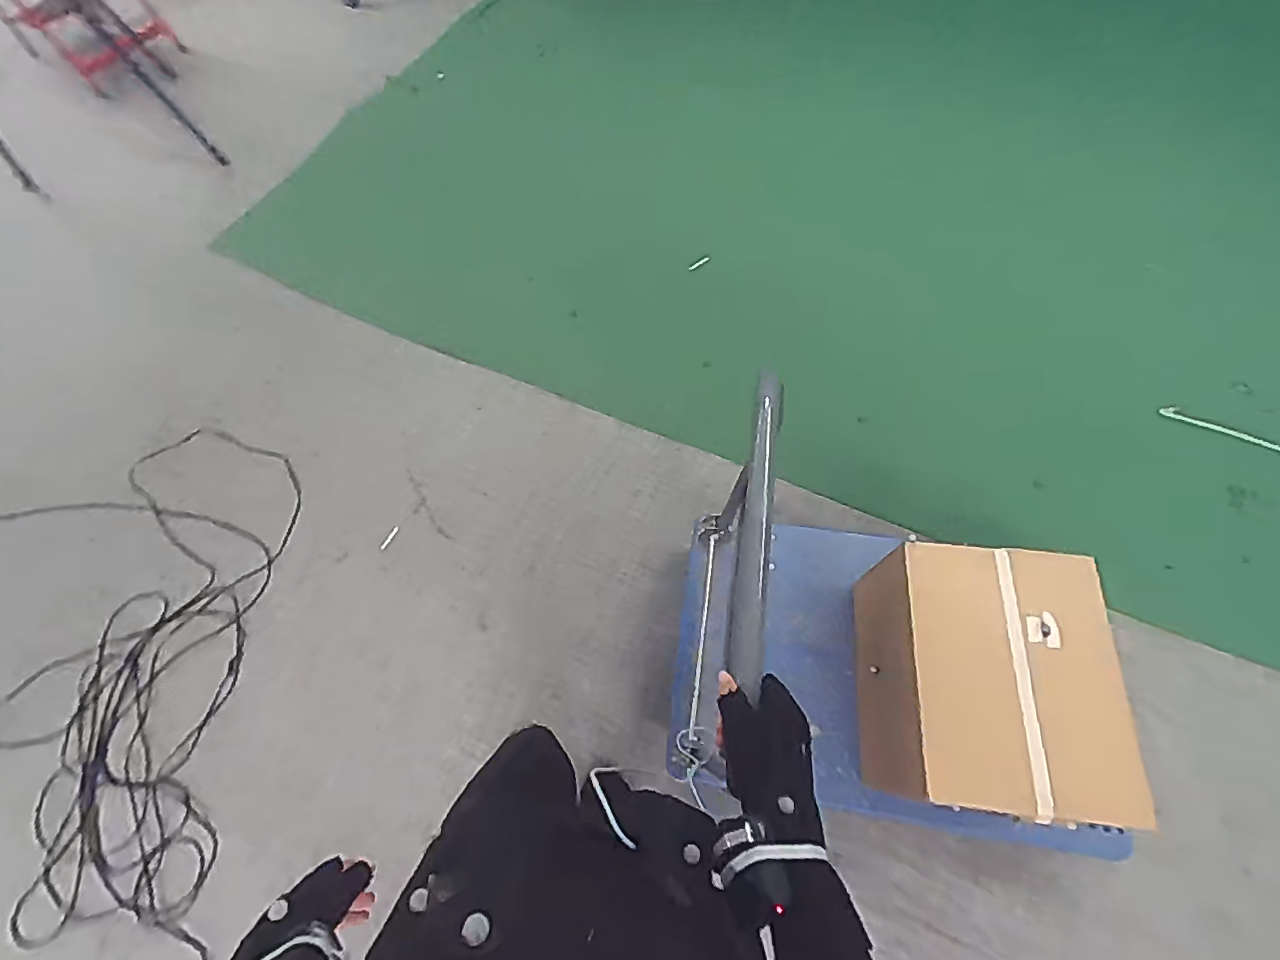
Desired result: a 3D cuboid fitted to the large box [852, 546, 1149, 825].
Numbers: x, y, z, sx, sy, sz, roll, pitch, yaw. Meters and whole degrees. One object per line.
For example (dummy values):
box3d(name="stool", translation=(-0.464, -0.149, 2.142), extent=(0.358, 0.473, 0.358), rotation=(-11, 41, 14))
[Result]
box3d(name="large box", translation=(0.601, 0.373, 0.998), extent=(0.320, 0.320, 0.408), rotation=(5, 63, 5))
